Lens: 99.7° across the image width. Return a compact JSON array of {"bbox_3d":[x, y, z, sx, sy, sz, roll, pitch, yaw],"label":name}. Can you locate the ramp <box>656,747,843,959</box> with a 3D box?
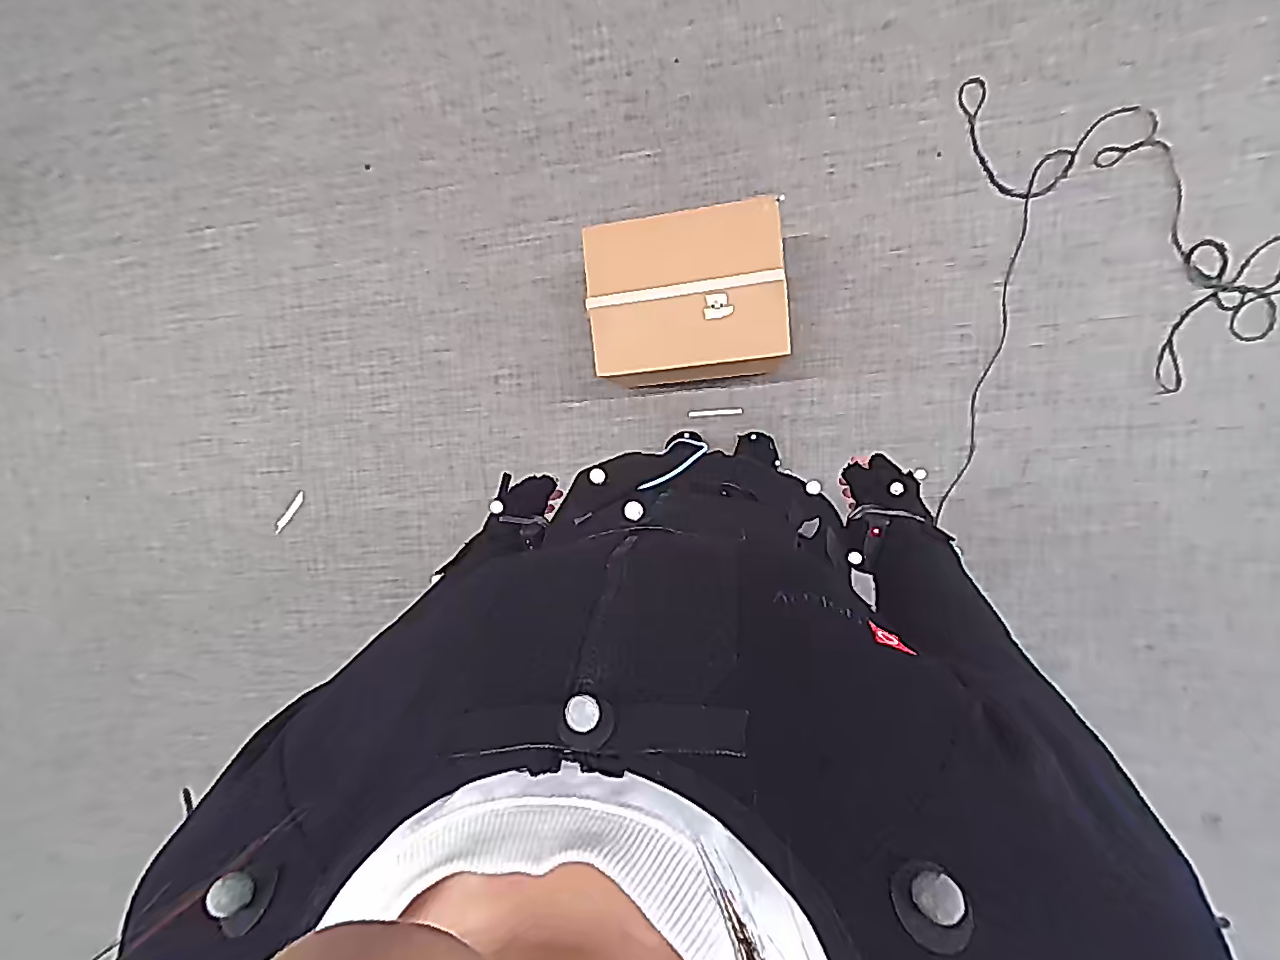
[{"bbox_3d":[0.283,1.243,1.436,0.509,0.206,0.991,-2,94,12],"label":"ramp"}]

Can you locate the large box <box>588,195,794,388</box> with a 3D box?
[{"bbox_3d":[0.124,-0.405,1.255,0.408,0.320,0.320,-5,95,10],"label":"large box"}]
